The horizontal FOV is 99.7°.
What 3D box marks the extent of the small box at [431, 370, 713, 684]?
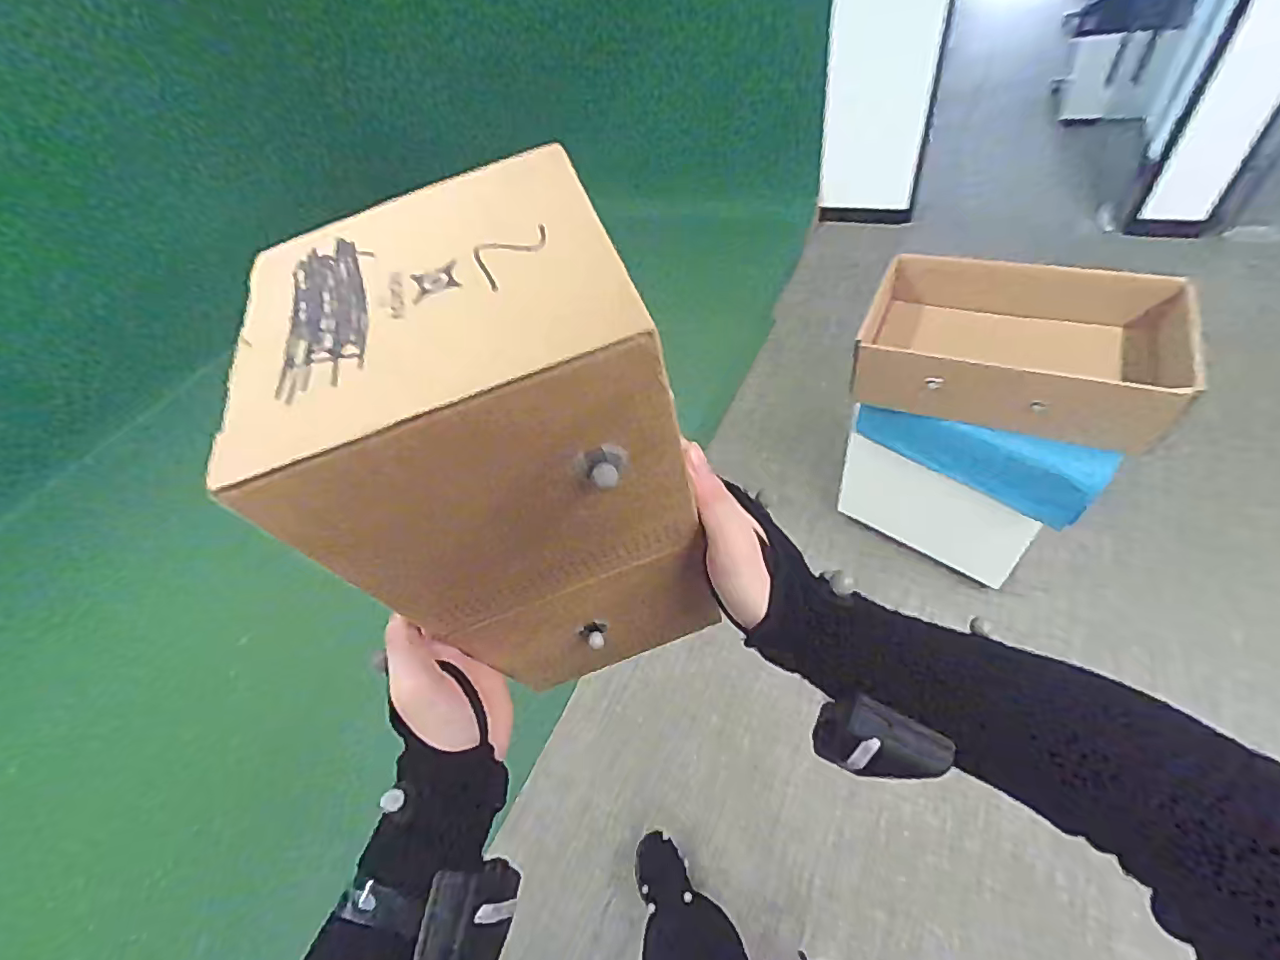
[{"bbox_3d":[-0.046,0.047,0.447,0.179,0.176,0.168,-21,55,1],"label":"small box"}]
